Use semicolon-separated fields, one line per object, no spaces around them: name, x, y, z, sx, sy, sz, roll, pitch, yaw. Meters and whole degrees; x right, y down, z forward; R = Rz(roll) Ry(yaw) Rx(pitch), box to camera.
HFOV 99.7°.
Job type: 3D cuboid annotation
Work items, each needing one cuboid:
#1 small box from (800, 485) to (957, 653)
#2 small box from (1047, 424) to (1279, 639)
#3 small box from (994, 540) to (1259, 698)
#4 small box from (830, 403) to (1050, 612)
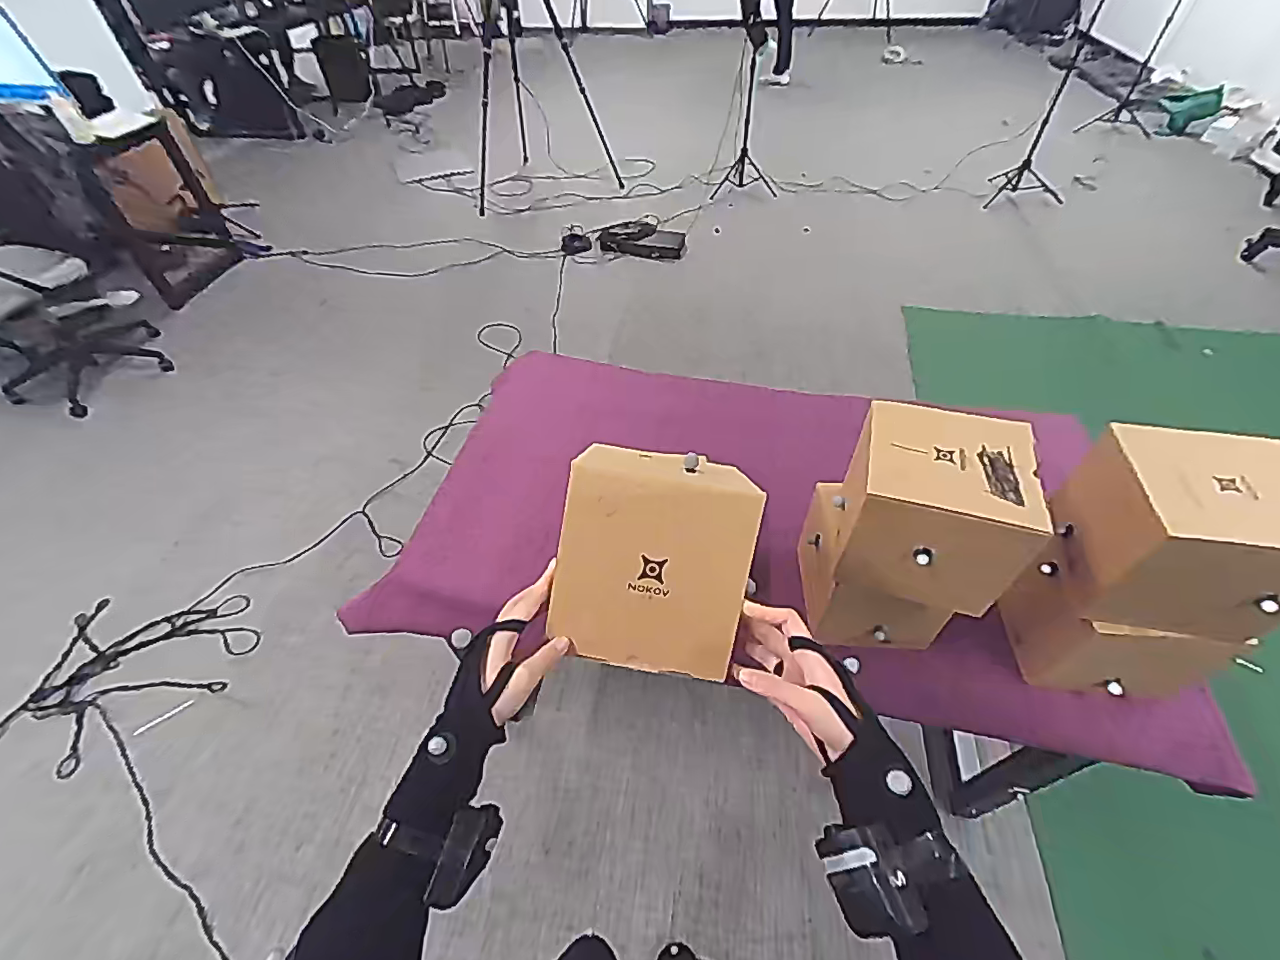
small box;0.336;0.128;0.785;0.168;0.176;0.179;1;48;4
small box;0.606;0.061;0.610;0.179;0.176;0.168;8;49;11
small box;0.622;0.177;0.725;0.179;0.176;0.168;4;48;6
small box;0.341;0.035;0.646;0.179;0.176;0.168;12;48;15
